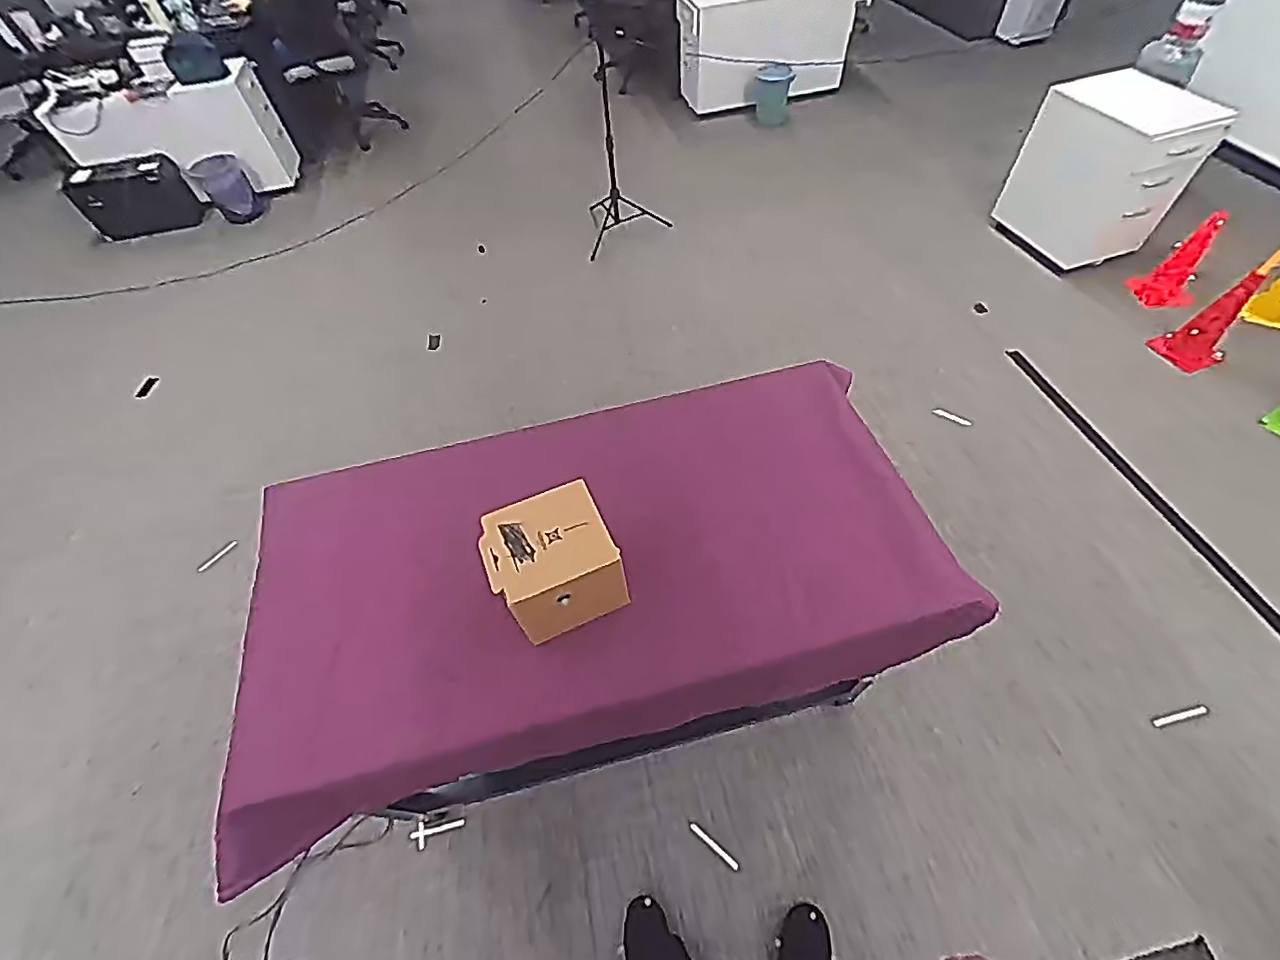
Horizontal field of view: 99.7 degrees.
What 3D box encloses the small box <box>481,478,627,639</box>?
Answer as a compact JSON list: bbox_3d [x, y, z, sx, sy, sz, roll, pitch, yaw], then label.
[{"bbox_3d":[-0.134,0.133,0.883,0.179,0.176,0.168,-22,56,-11],"label":"small box"}]
